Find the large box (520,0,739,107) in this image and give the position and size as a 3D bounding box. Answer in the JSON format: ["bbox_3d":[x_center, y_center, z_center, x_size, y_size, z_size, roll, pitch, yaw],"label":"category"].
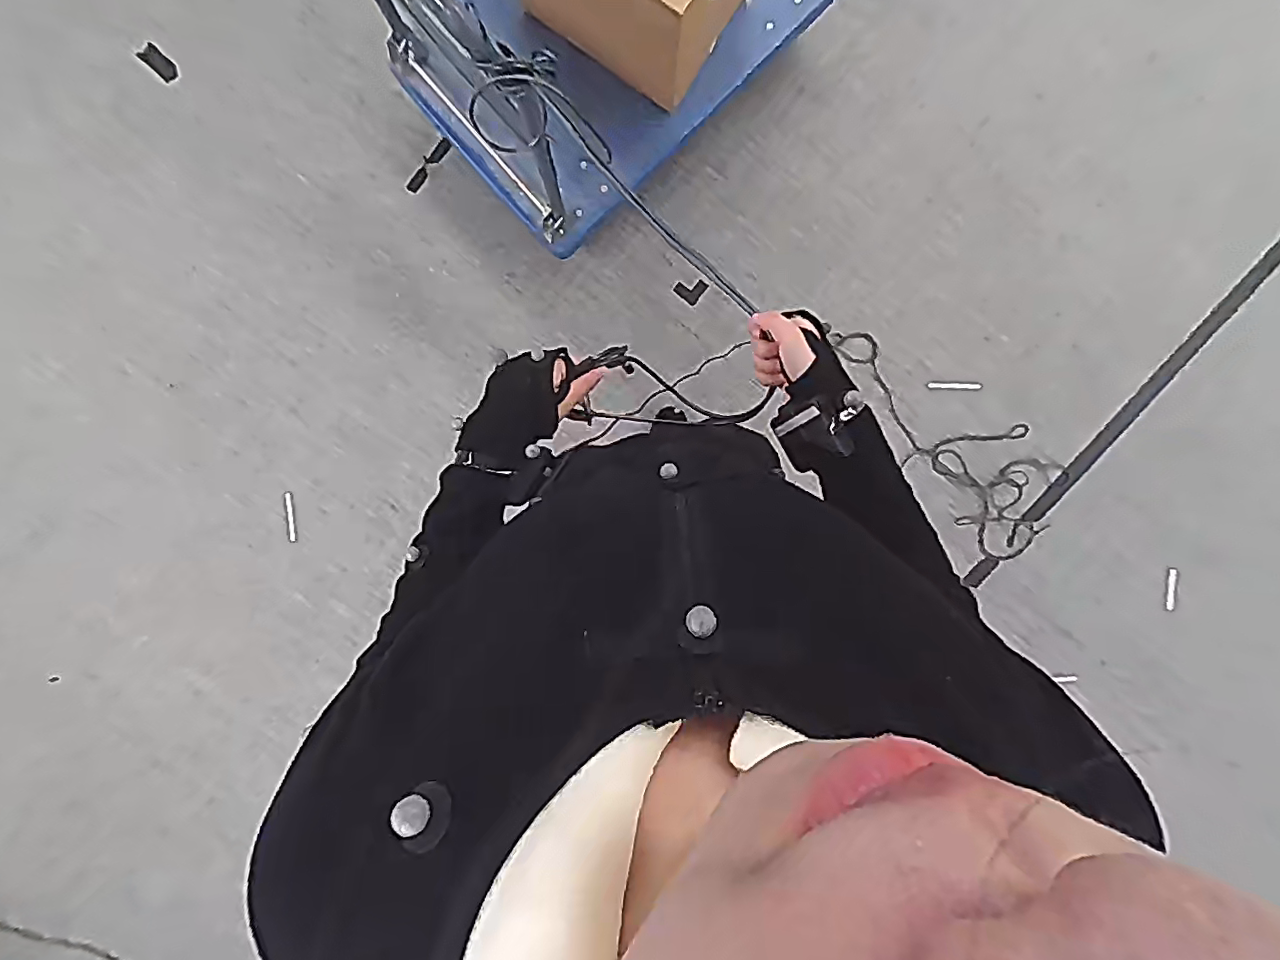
[{"bbox_3d":[-0.012,-1.037,1.032,0.408,0.320,0.320,32,97,-5],"label":"large box"}]
